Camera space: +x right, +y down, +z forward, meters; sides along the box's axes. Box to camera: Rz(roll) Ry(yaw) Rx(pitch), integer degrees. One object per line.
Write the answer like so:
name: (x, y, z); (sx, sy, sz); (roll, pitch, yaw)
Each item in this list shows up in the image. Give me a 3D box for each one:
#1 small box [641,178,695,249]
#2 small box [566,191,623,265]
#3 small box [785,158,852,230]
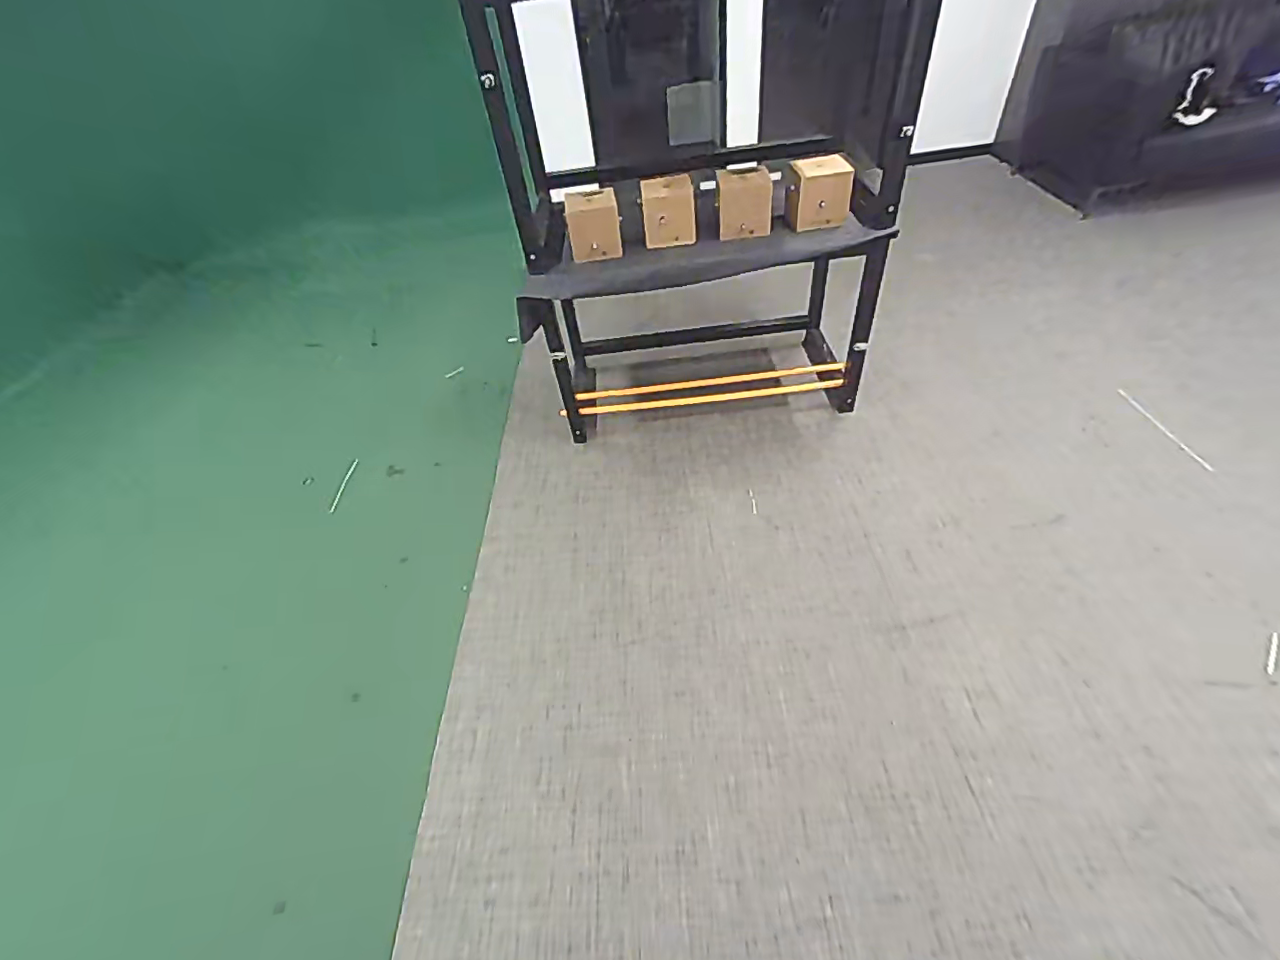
small box: (0.096, -0.897, 1.832); (0.168, 0.176, 0.179); (-6, 45, 3)
small box: (-0.152, -0.845, 1.817); (0.168, 0.176, 0.179); (-9, 46, 0)
small box: (0.586, -0.942, 1.794); (0.168, 0.176, 0.179); (-6, 44, 2)
